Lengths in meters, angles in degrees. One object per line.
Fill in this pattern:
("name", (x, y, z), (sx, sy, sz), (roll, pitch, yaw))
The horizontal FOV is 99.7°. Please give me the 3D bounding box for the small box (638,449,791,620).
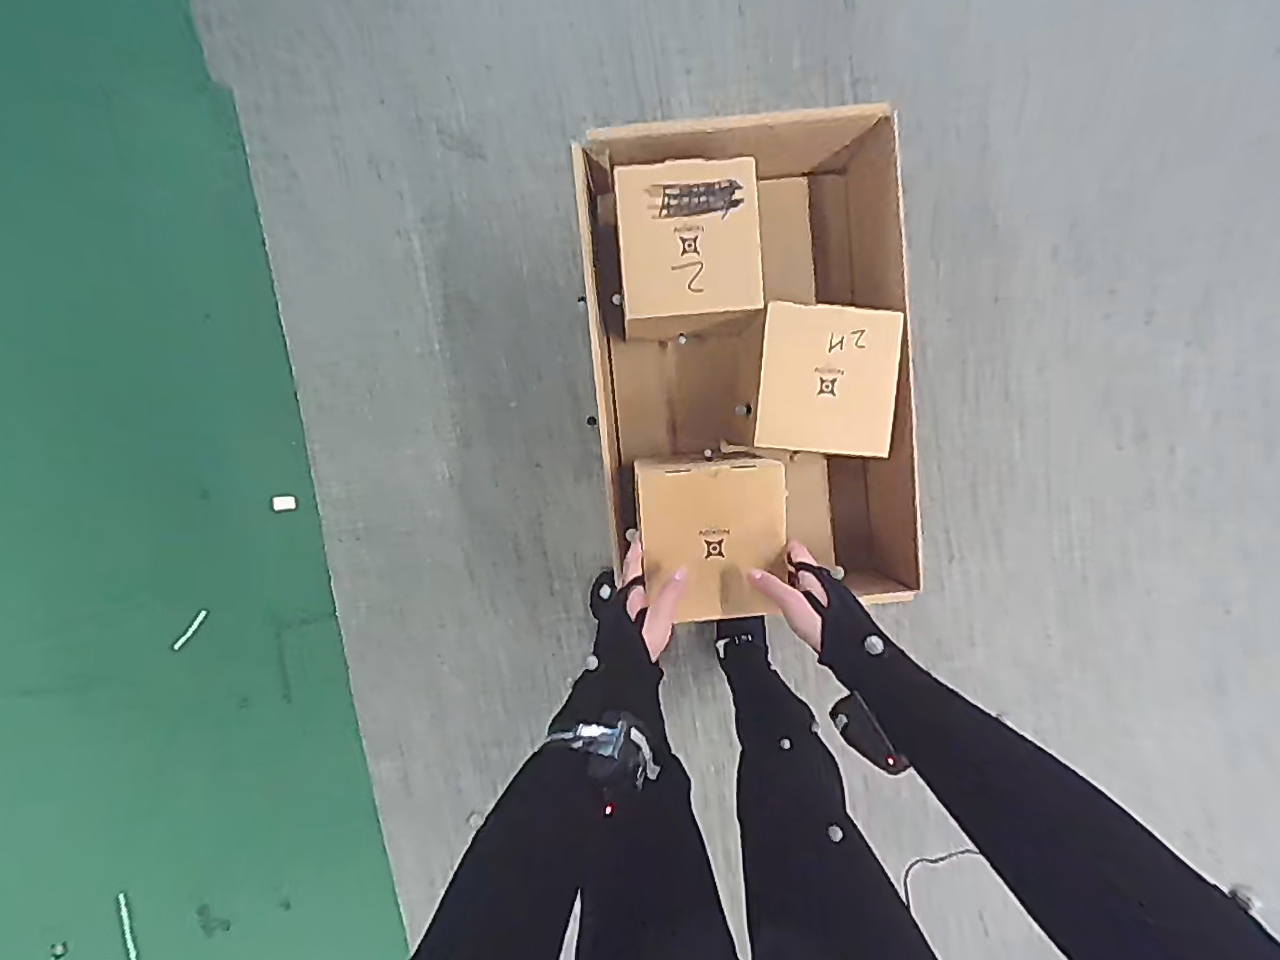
("small box", (0.084, 0.058, 0.674), (0.168, 0.176, 0.179), (-4, 97, -1))
